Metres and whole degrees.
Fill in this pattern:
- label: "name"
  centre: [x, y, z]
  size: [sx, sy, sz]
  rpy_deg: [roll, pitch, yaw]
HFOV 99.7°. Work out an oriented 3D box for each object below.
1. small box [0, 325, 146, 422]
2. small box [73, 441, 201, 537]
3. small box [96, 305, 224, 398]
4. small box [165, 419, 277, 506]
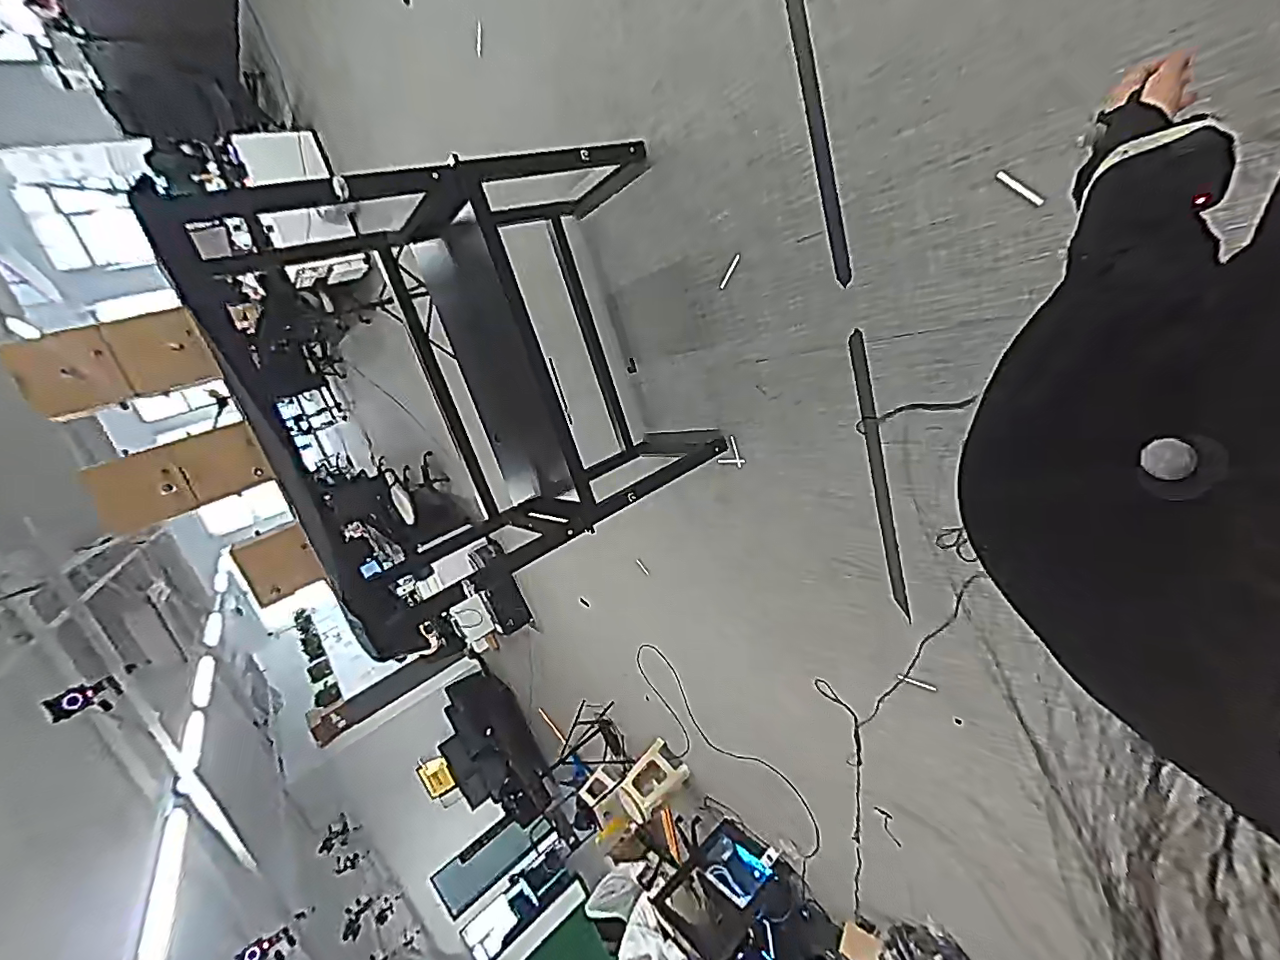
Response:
- label: "small box"
  centre: [-1.246, -0.236, 1.198]
  size: [0.179, 0.176, 0.168]
  rpy_deg: [8, 121, 53]
- label: "small box"
  centre: [-1.164, 0.014, 1.277]
  size: [0.179, 0.176, 0.168]
  rpy_deg: [7, 120, 54]
- label: "small box"
  centre: [-1.121, -0.301, 1.281]
  size: [0.179, 0.176, 0.168]
  rpy_deg: [7, 121, 54]
- label: "small box"
  centre: [-1.038, -0.050, 1.357]
  size: [0.179, 0.176, 0.168]
  rpy_deg: [7, 119, 56]
